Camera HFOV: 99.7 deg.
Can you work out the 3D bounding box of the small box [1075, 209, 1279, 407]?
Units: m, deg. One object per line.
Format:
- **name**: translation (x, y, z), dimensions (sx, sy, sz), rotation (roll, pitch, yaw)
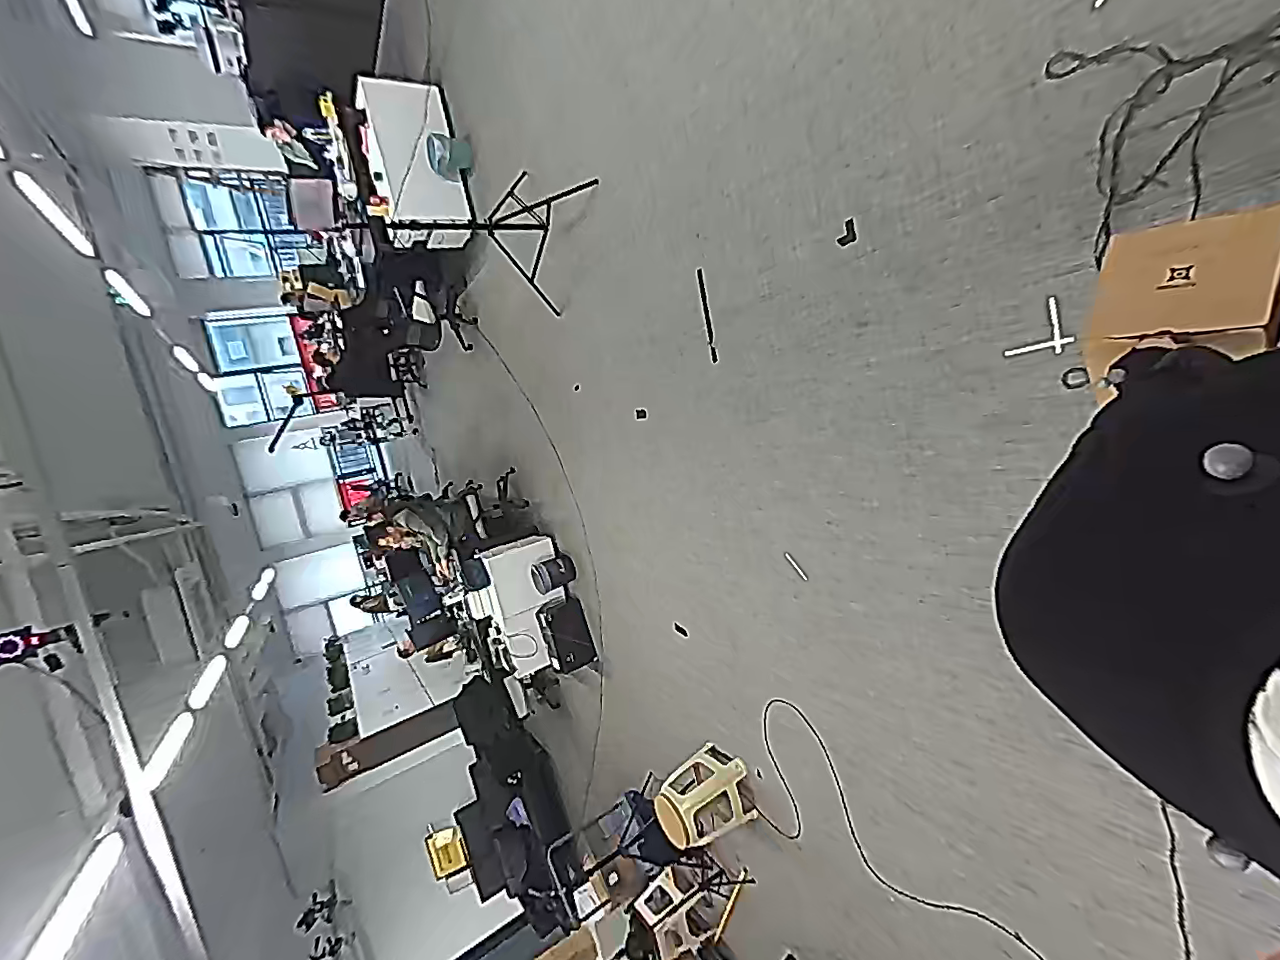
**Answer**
- **small box**: translation (0.711, -0.210, 0.713), dimensions (0.168, 0.176, 0.179), rotation (11, 73, 50)
